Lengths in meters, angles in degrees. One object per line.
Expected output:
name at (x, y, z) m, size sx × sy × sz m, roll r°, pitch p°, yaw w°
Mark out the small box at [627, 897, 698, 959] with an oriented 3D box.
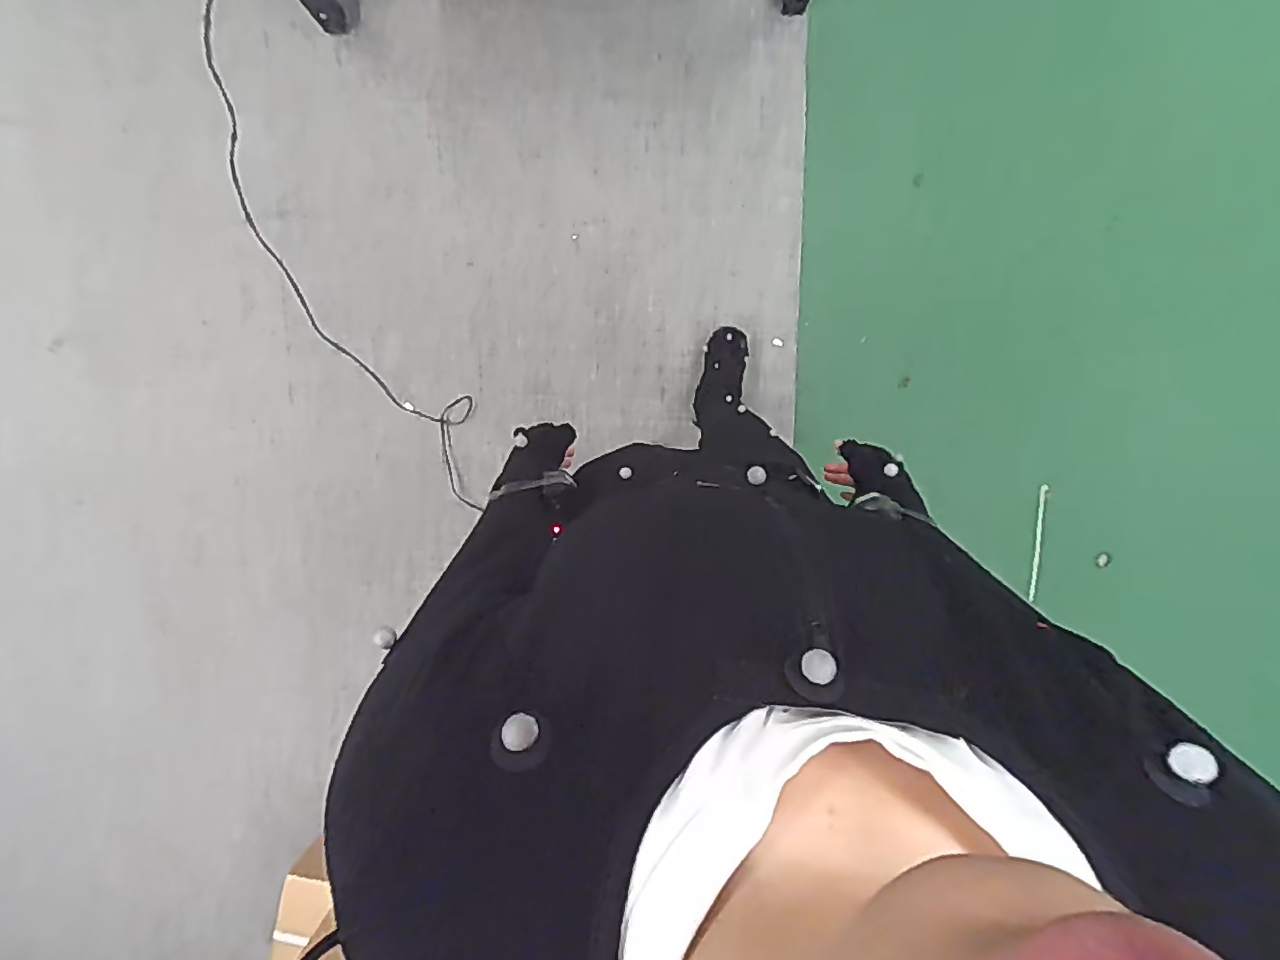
small box at (0.062, 1.285, 1.474) m, size 0.168 × 0.176 × 0.179 m, roll -16°, pitch 98°, yaw 2°
